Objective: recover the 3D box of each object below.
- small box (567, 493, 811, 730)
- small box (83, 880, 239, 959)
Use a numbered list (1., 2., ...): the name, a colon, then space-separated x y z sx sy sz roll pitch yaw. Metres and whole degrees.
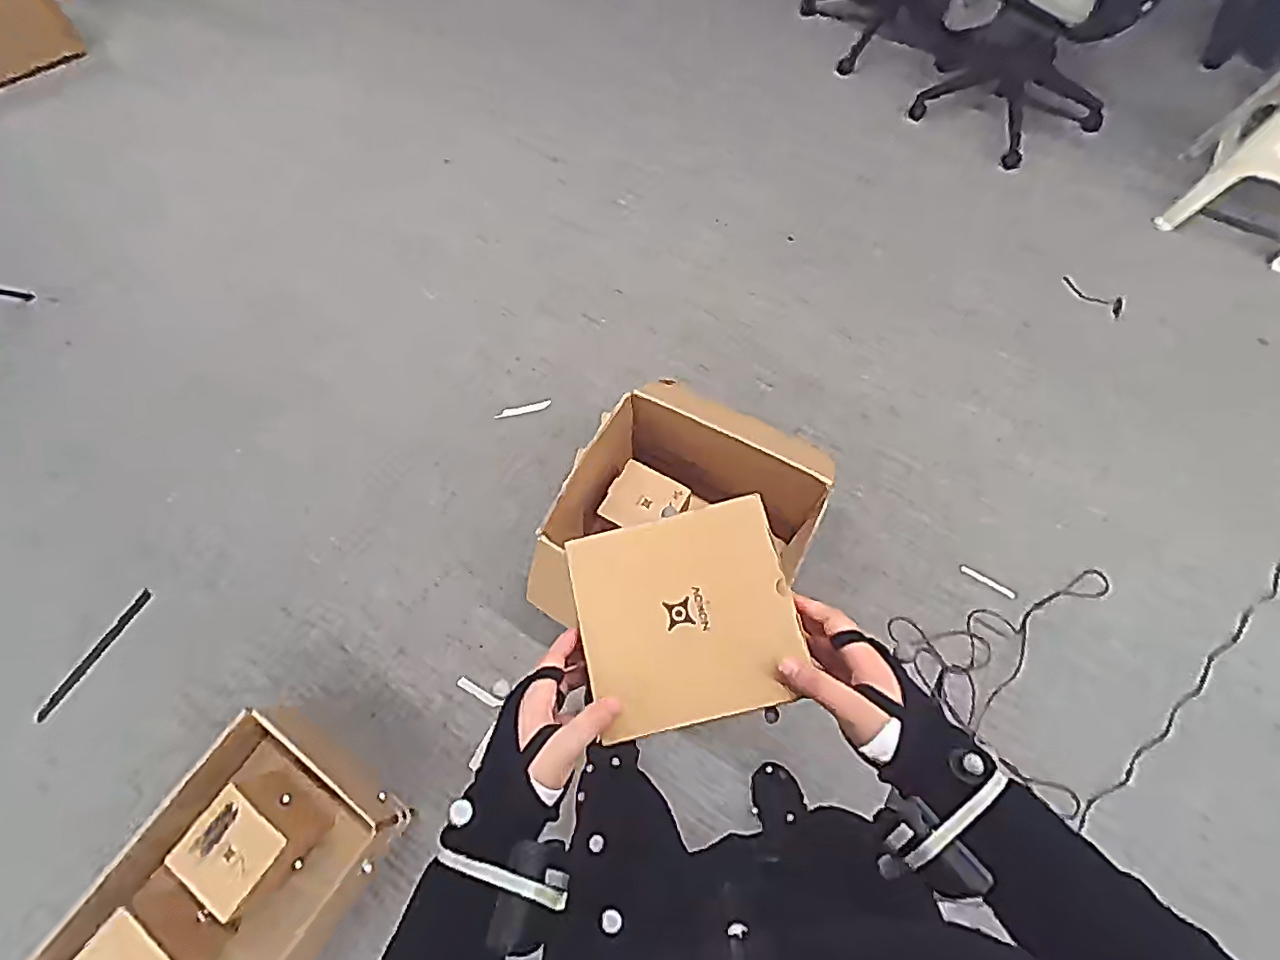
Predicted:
1. small box: 0.044 0.131 0.525 0.179 0.176 0.168 -14 71 1
2. small box: -0.948 0.941 1.054 0.168 0.176 0.179 33 72 11
